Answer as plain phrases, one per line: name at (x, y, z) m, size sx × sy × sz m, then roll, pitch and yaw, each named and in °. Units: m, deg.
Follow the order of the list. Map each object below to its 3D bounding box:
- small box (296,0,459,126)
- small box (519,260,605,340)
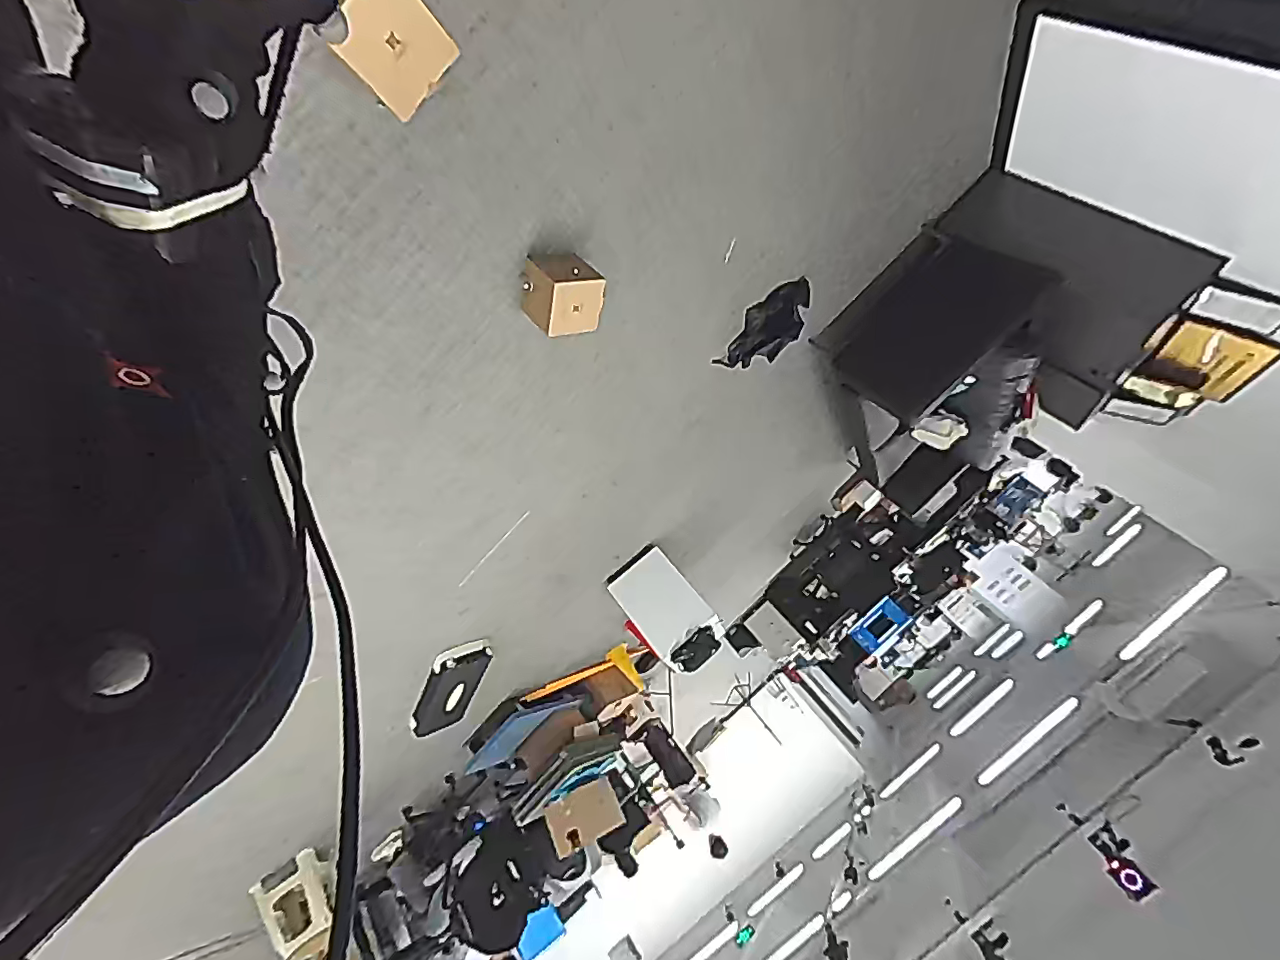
small box at (-0.469, -0.786, 0.962) m, size 0.168 × 0.176 × 0.179 m, roll -47°, pitch 151°, yaw 8°
small box at (-0.233, -0.534, 1.590) m, size 0.179 × 0.176 × 0.168 m, roll -19°, pitch 142°, yaw -34°
